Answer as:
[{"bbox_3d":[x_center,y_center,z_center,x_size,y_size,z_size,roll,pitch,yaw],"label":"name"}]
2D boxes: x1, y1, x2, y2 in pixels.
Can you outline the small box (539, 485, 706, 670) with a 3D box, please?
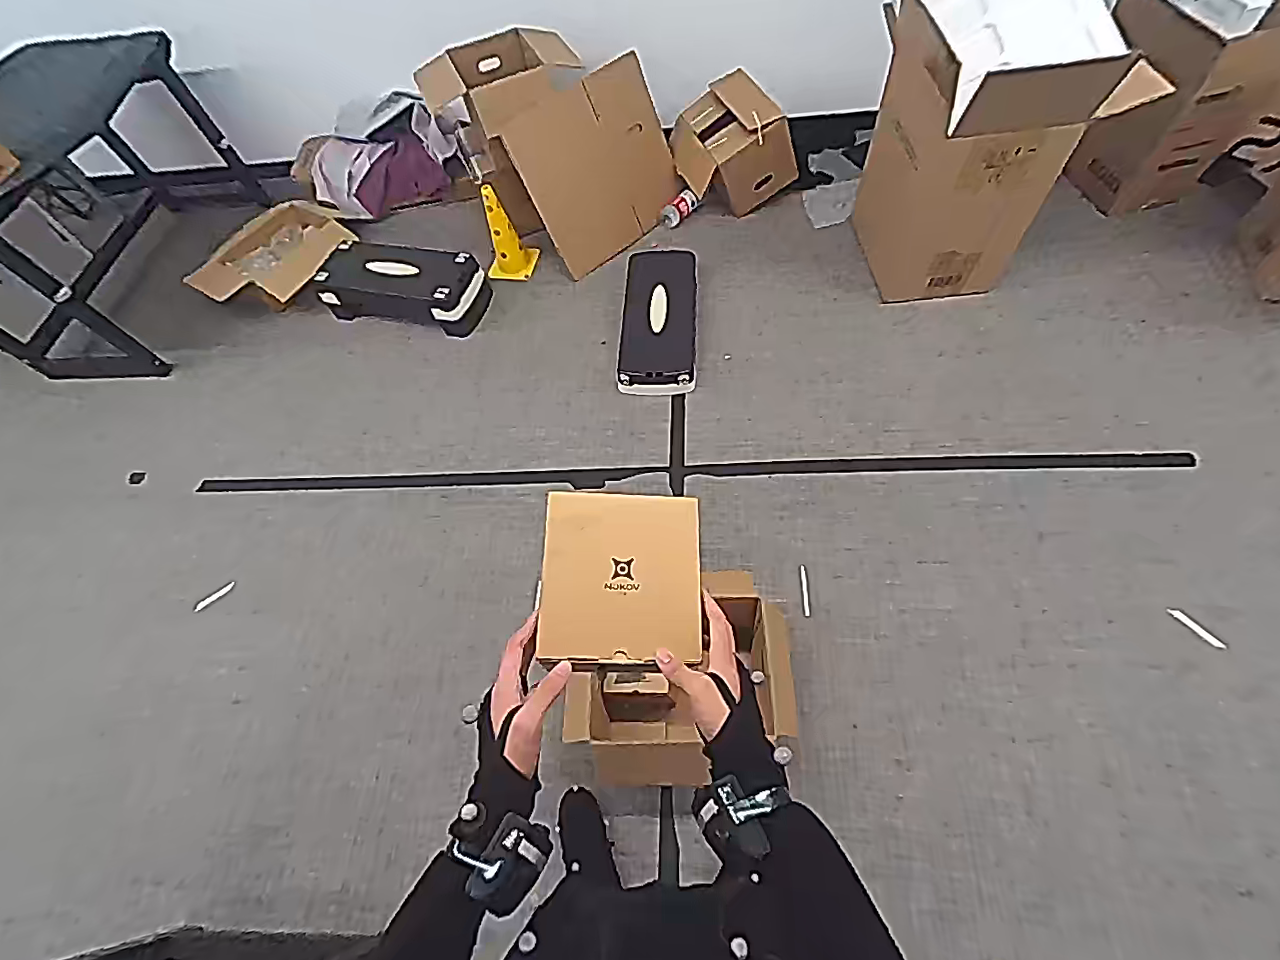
[{"bbox_3d":[-0.024,0.120,0.622,0.168,0.176,0.179,3,68,-6],"label":"small box"}]
